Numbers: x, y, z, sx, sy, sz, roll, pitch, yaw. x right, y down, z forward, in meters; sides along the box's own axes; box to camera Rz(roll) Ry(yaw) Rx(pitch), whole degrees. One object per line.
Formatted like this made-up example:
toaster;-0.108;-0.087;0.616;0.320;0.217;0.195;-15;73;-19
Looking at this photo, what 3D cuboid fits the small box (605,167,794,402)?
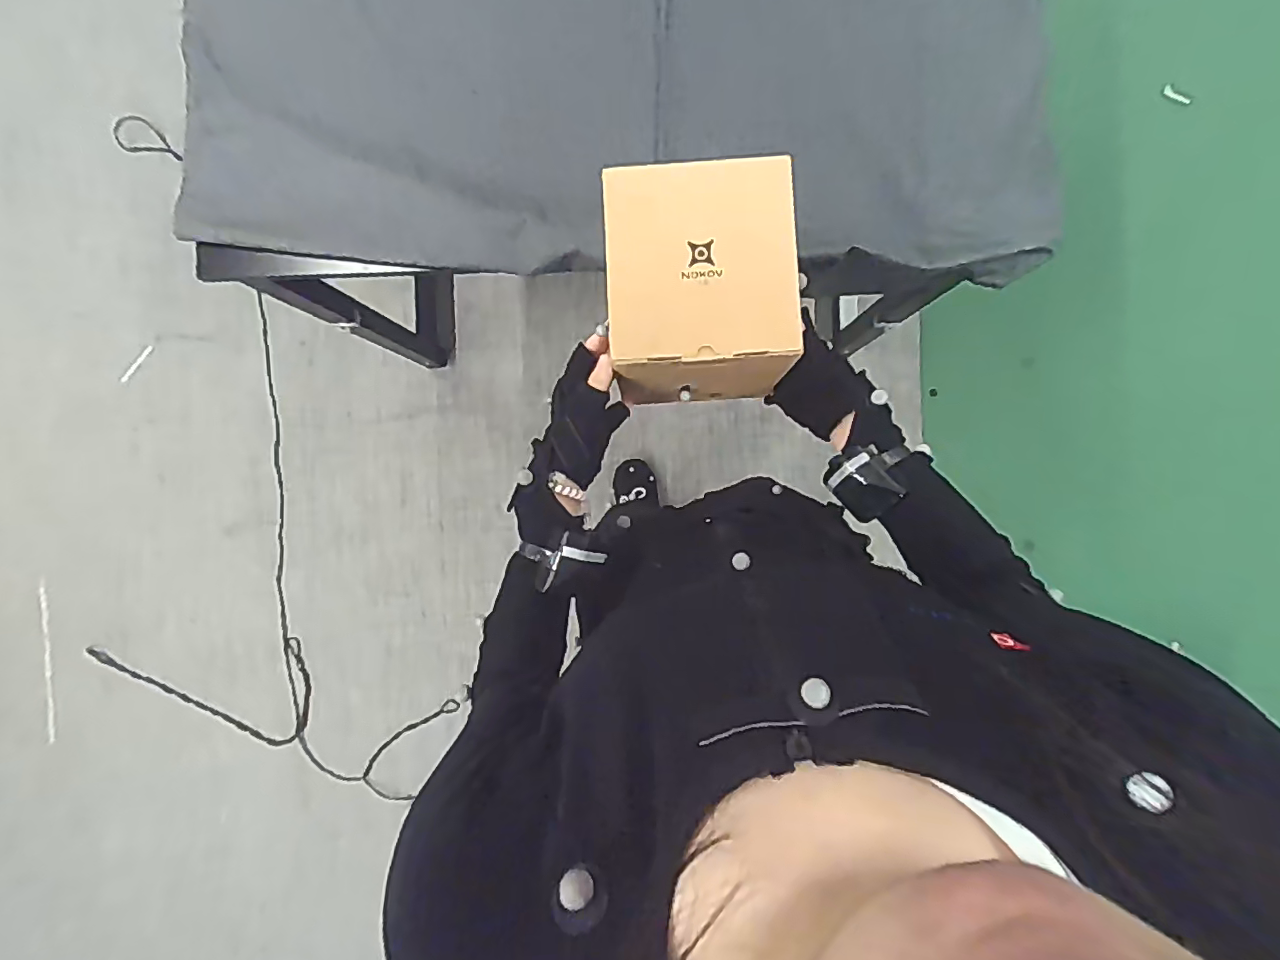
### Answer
small box;0.053;-0.186;0.559;0.168;0.176;0.179;-3;87;2
